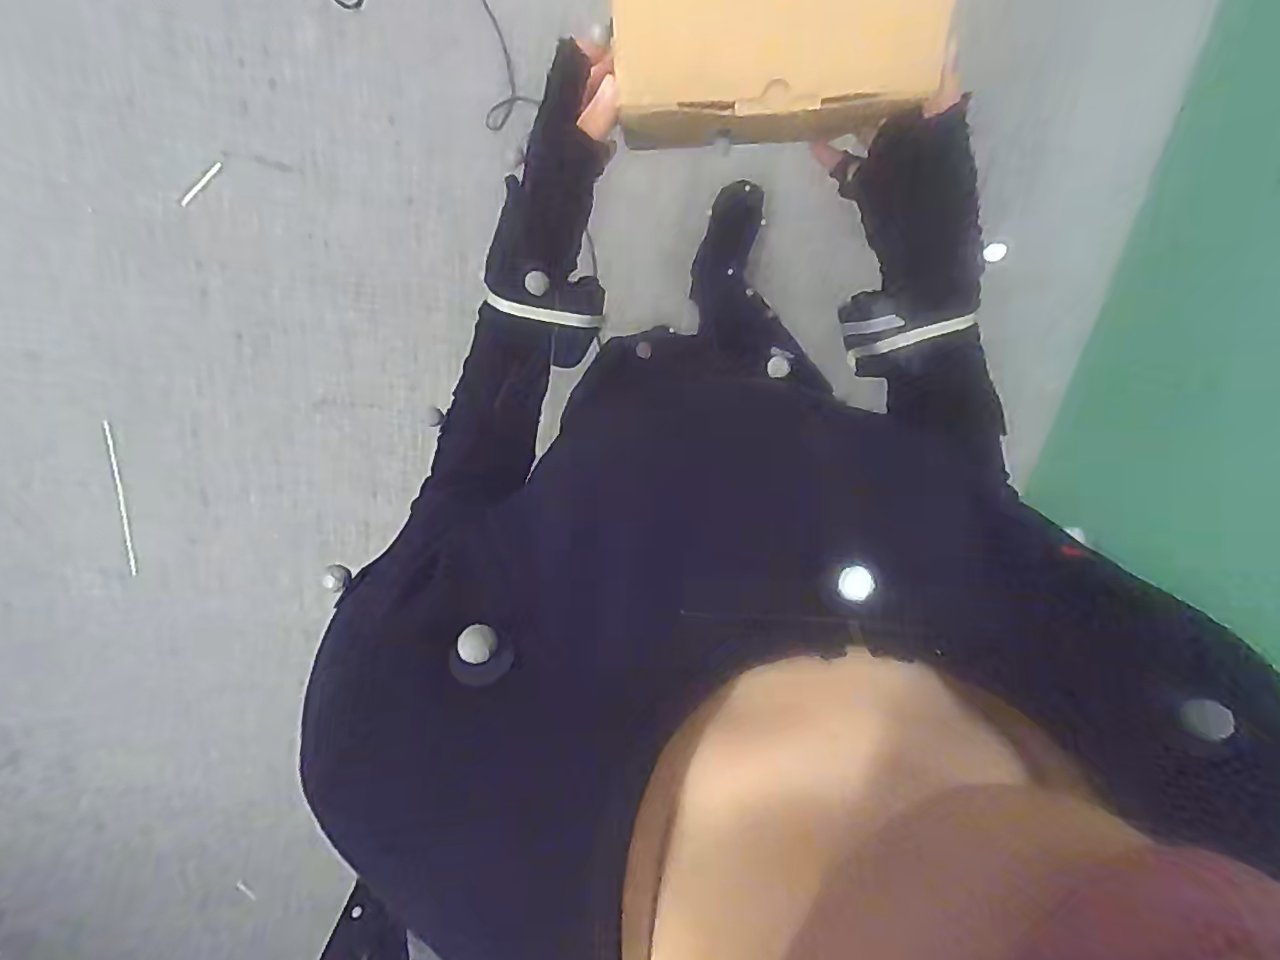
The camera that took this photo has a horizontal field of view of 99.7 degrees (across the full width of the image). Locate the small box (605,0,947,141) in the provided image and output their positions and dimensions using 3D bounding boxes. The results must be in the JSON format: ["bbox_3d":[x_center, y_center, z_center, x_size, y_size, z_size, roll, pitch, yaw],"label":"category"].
[{"bbox_3d":[0.062,-0.309,0.307,0.168,0.176,0.179,-2,116,2],"label":"small box"}]
